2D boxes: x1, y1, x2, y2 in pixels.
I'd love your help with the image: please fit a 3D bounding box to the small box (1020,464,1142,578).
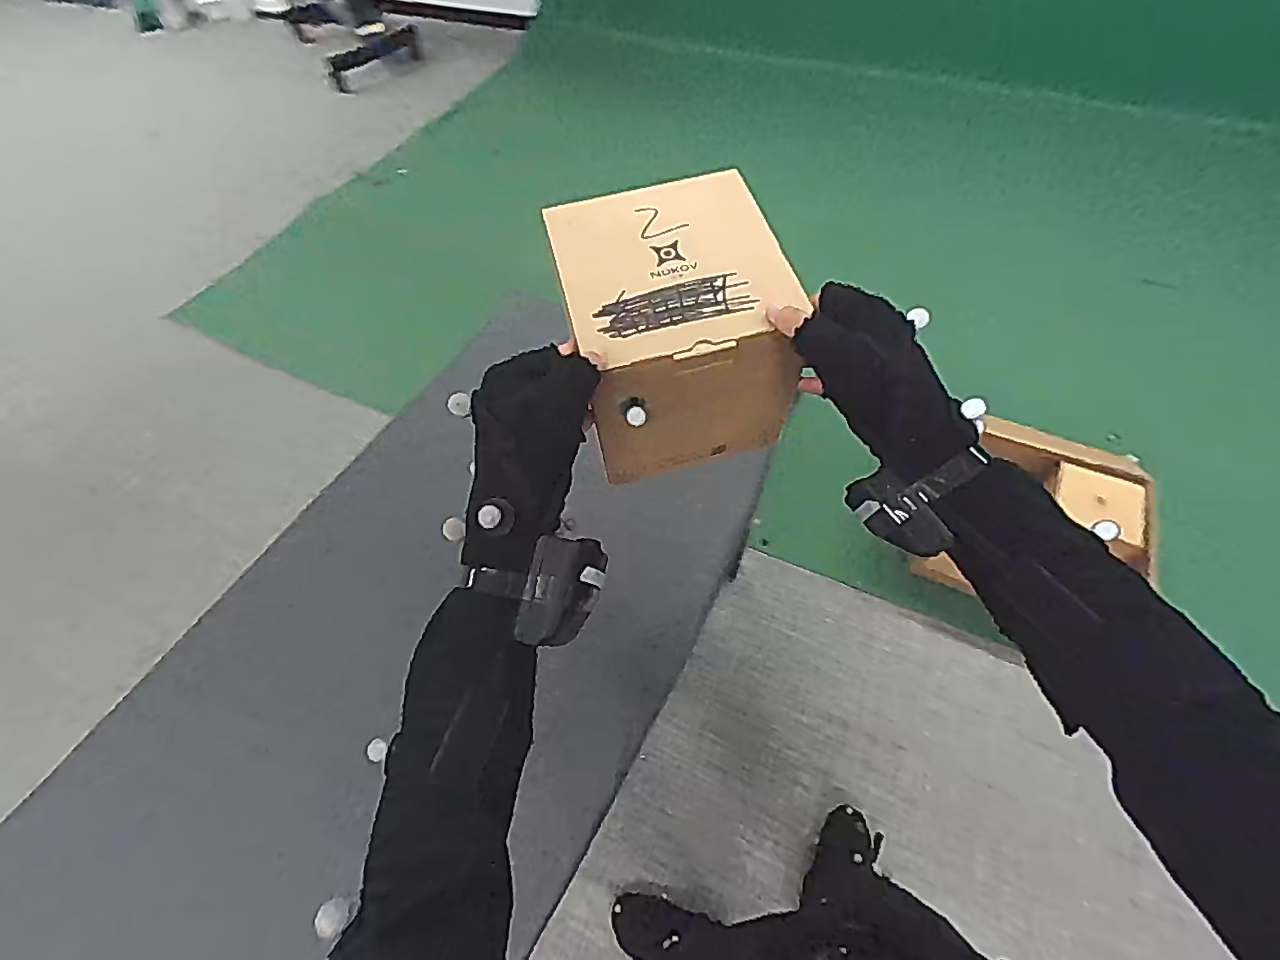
[{"bbox_3d":[1.038,0.098,1.282,0.168,0.176,0.179,22,59,20],"label":"small box"}]
